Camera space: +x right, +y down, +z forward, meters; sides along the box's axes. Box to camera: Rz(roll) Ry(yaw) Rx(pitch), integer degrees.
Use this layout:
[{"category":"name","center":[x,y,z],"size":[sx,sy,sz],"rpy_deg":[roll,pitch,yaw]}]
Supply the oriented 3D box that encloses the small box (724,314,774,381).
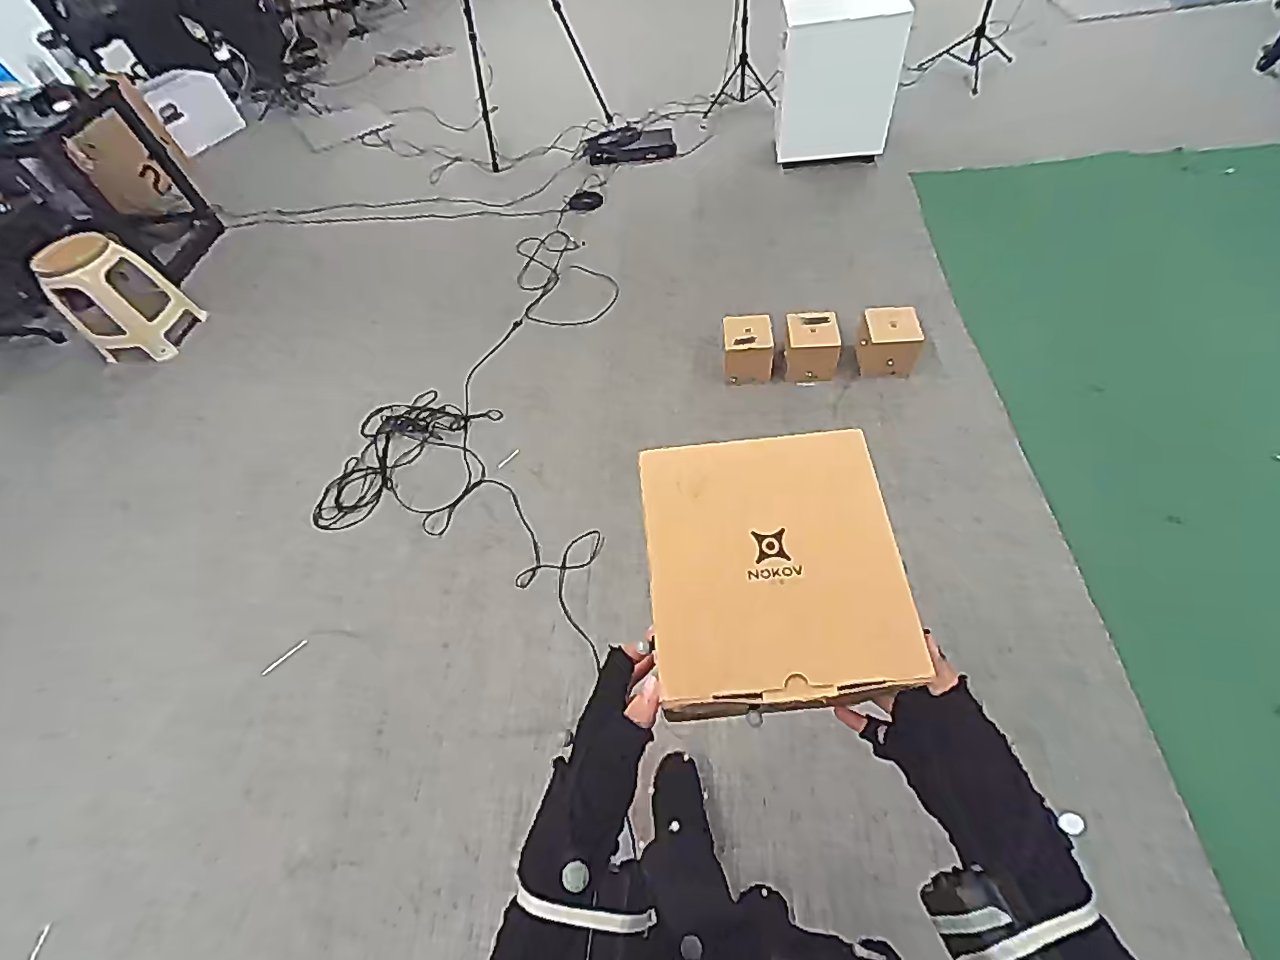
[{"category":"small box","center":[0.390,-0.471,1.951],"size":[0.168,0.176,0.179],"rpy_deg":[-2,54,8]}]

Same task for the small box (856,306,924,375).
[{"category":"small box","center":[0.867,-0.482,1.888],"size":[0.168,0.176,0.179],"rpy_deg":[-1,55,7]}]

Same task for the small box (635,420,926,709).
[{"category":"small box","center":[0.087,0.076,0.429],"size":[0.168,0.176,0.179],"rpy_deg":[-6,64,1]}]
